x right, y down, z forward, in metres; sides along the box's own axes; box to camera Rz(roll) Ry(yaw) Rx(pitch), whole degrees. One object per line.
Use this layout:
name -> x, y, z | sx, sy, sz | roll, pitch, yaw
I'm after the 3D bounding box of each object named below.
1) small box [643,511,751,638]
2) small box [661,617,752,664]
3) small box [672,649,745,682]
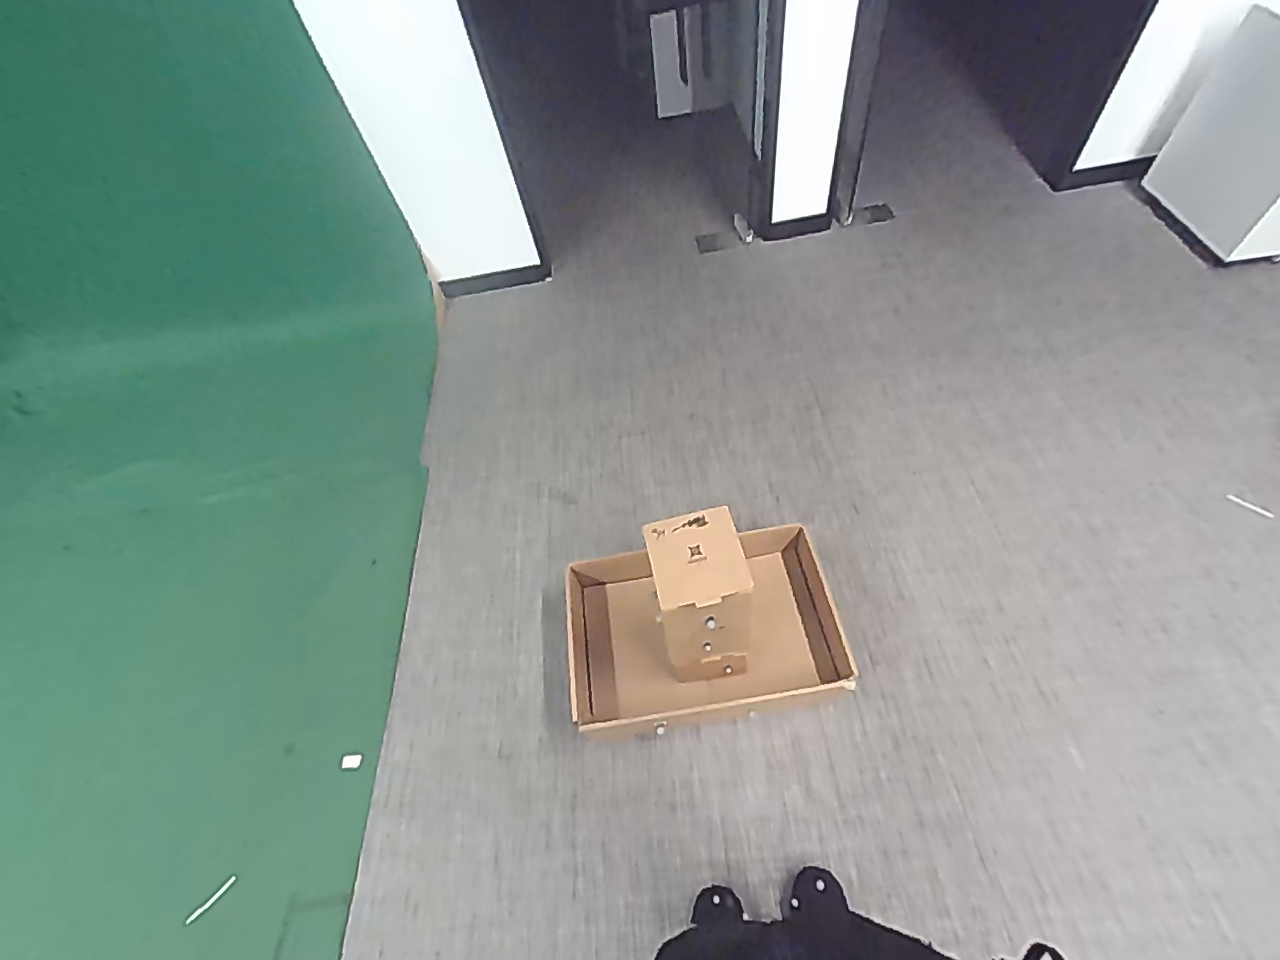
small box -> 0.110, 0.187, 1.023 | 0.168, 0.176, 0.179 | -12, 55, 1
small box -> 0.134, 0.280, 1.155 | 0.179, 0.176, 0.168 | -10, 55, 3
small box -> 0.156, 0.372, 1.289 | 0.168, 0.176, 0.179 | -8, 53, 3
